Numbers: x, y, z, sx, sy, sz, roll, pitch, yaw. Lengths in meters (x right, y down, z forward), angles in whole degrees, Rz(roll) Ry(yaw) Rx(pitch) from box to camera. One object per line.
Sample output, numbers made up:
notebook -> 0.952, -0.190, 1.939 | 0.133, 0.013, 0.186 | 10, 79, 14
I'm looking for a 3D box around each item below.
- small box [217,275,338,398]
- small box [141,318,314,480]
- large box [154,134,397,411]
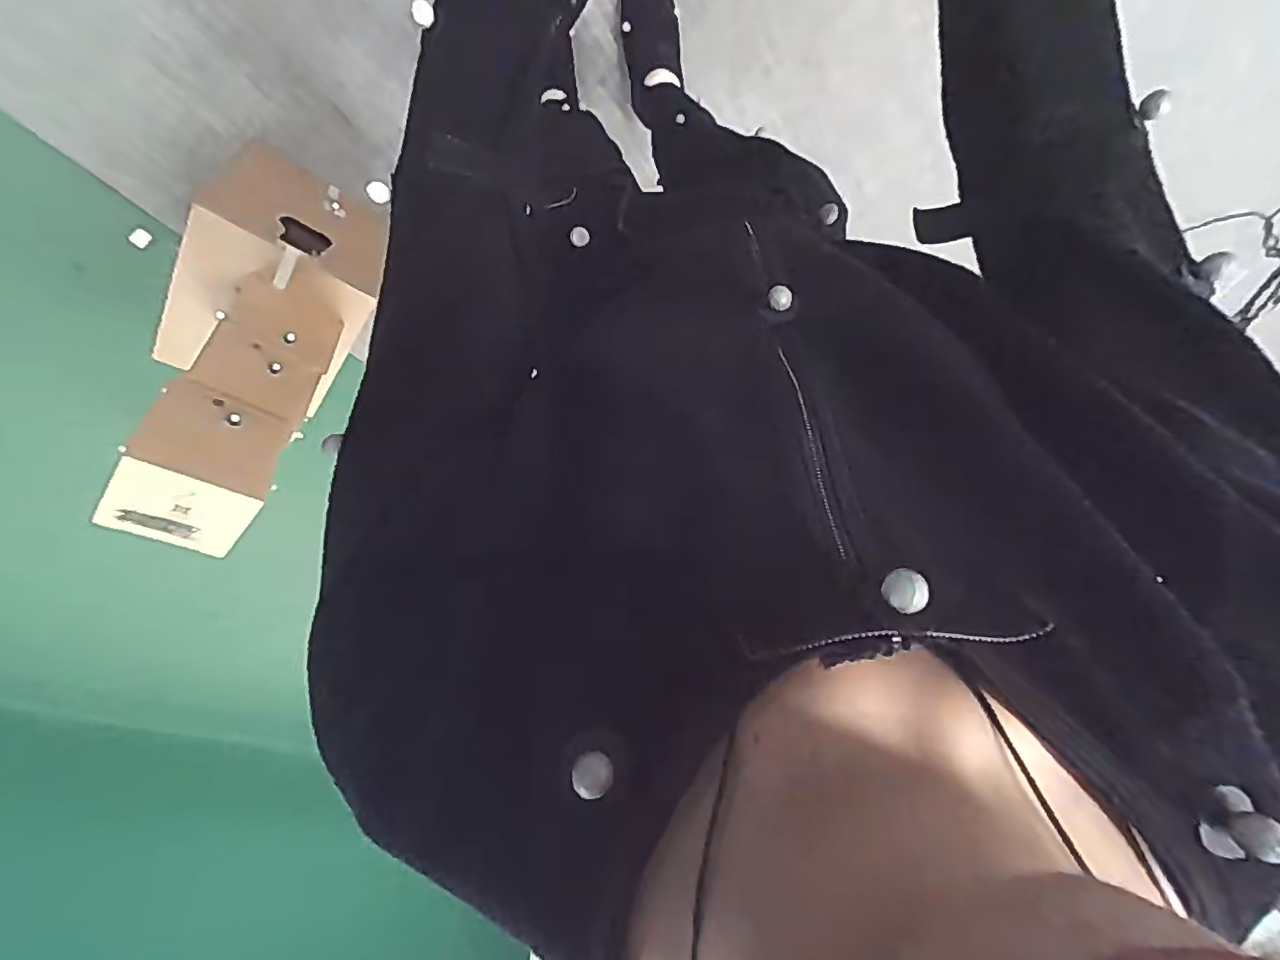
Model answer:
small box -> -0.713, -0.255, 1.038 | 0.168, 0.176, 0.179 | -36, 134, 27
small box -> -0.695, -0.137, 0.928 | 0.179, 0.176, 0.168 | -35, 134, 26
large box -> -0.784, -0.438, 1.191 | 0.320, 0.320, 0.408 | 26, 130, -33
